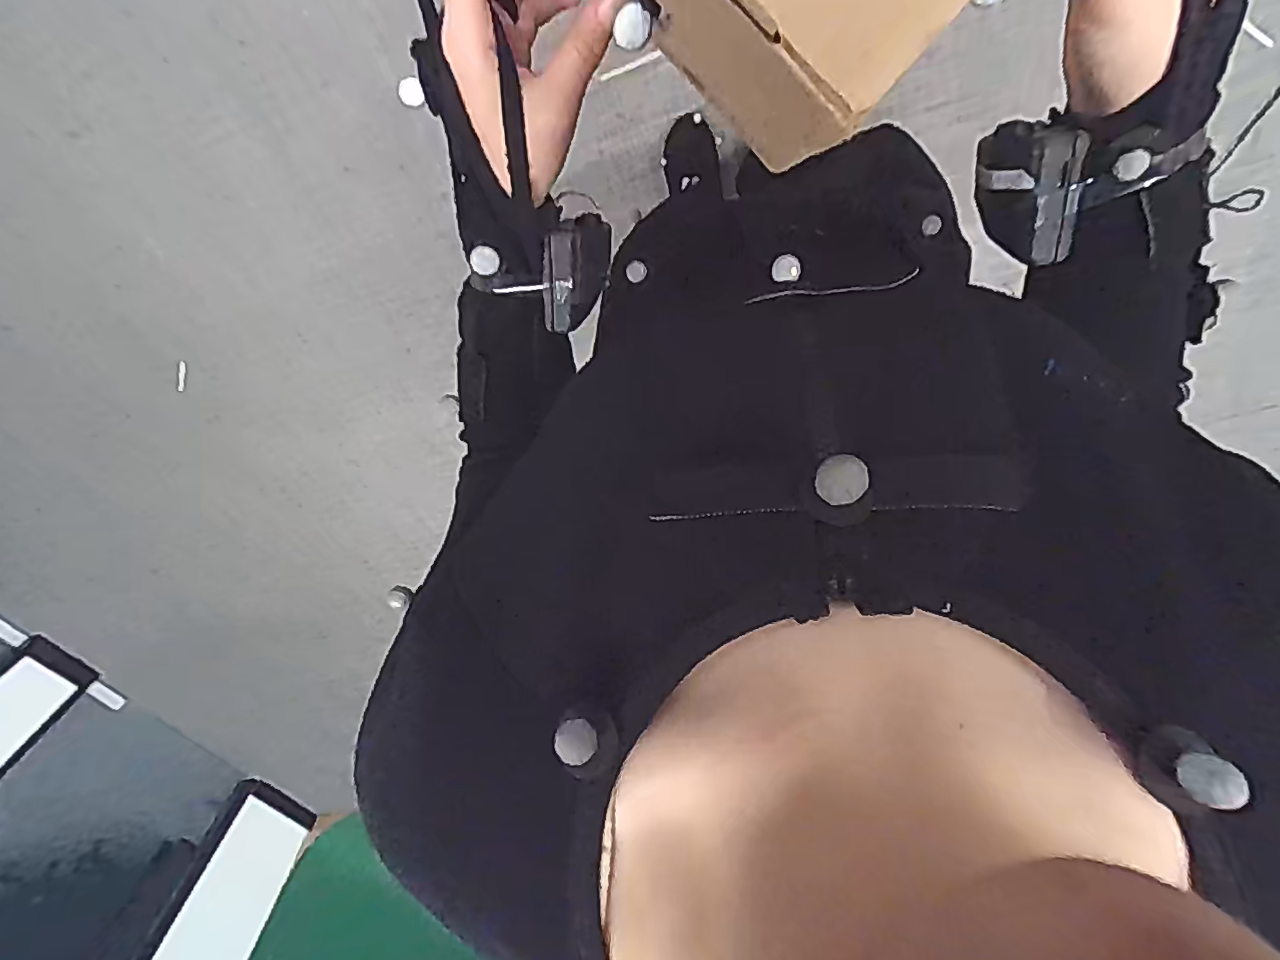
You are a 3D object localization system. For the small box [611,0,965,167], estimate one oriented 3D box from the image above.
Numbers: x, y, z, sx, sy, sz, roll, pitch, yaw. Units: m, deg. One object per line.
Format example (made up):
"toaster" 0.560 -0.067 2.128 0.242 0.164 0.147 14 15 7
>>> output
"small box" 0.061 -0.235 0.177 0.168 0.176 0.179 39 115 -12
